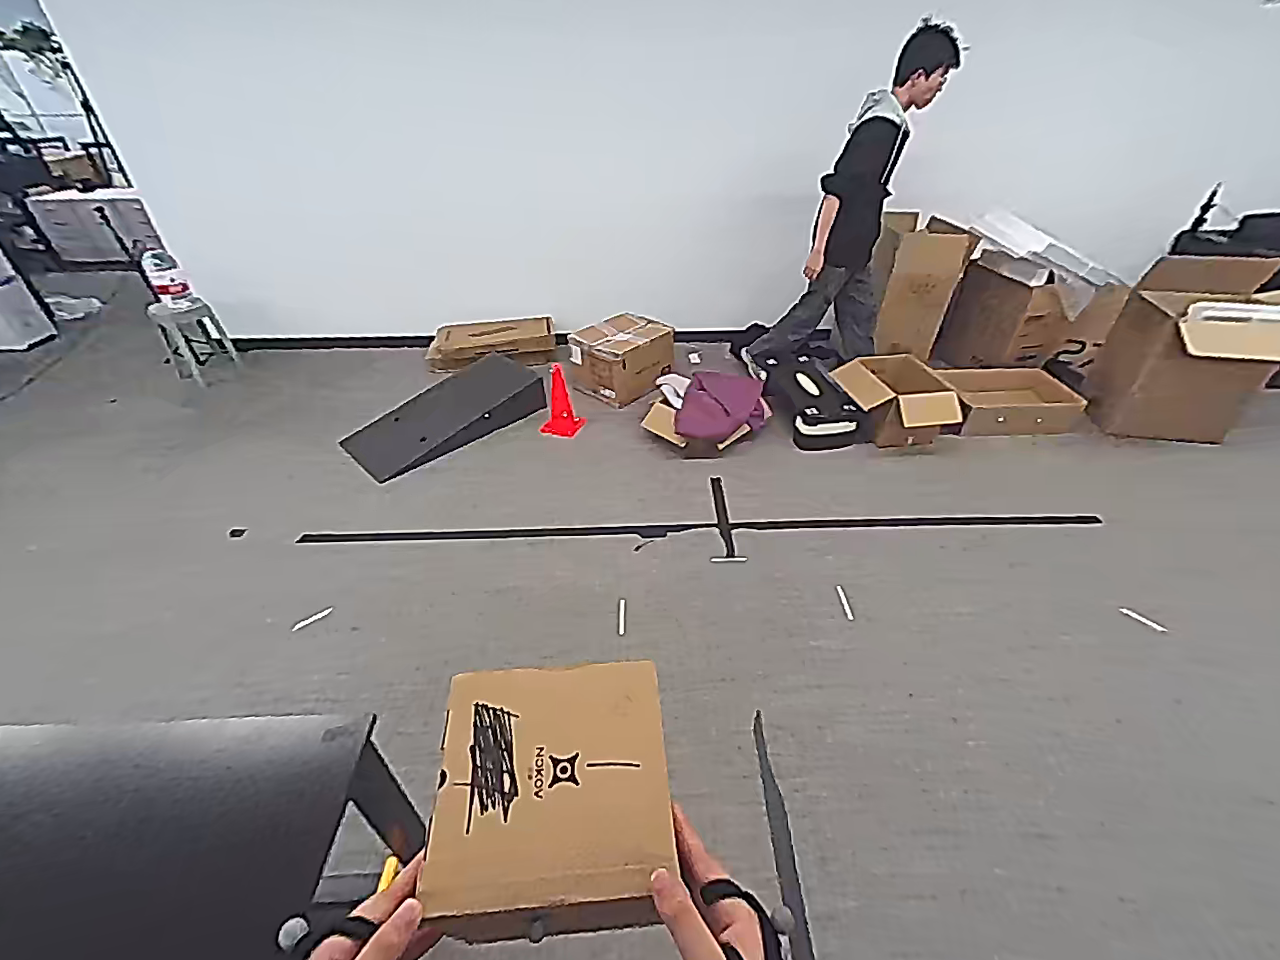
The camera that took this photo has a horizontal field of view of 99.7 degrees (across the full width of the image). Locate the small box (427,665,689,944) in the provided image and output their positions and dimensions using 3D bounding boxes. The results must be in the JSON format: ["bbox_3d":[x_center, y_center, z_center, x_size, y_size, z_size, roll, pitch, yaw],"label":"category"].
[{"bbox_3d":[-0.059,0.279,0.465,0.179,0.176,0.168,-2,45,-4],"label":"small box"}]
